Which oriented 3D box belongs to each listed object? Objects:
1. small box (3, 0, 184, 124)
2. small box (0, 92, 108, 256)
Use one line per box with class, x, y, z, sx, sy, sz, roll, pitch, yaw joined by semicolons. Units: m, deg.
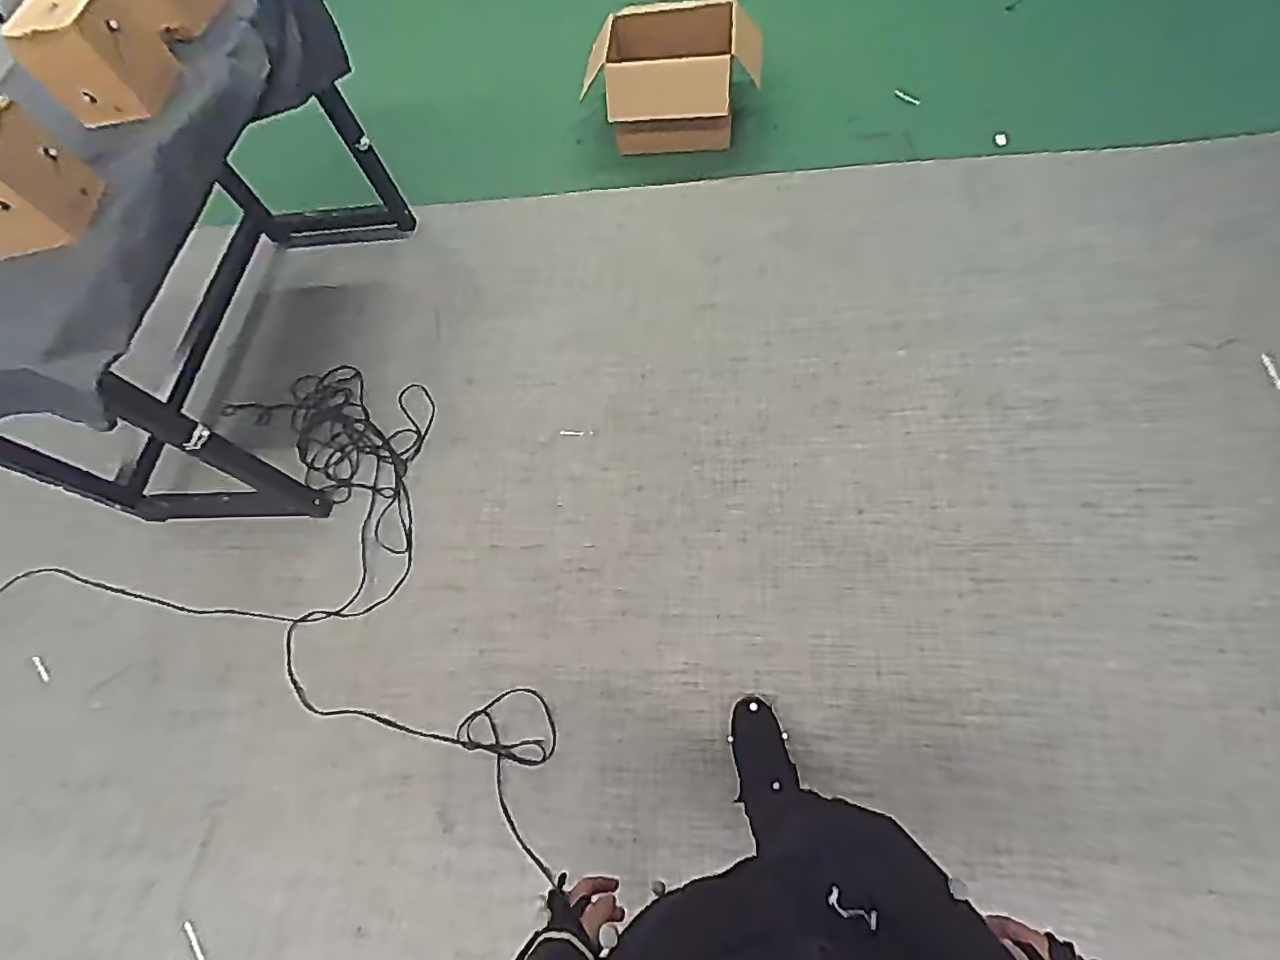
small box;-1.084;-0.863;1.094;0.168;0.176;0.179;-3;66;6
small box;-1.098;-0.523;0.938;0.179;0.176;0.168;-11;63;4
